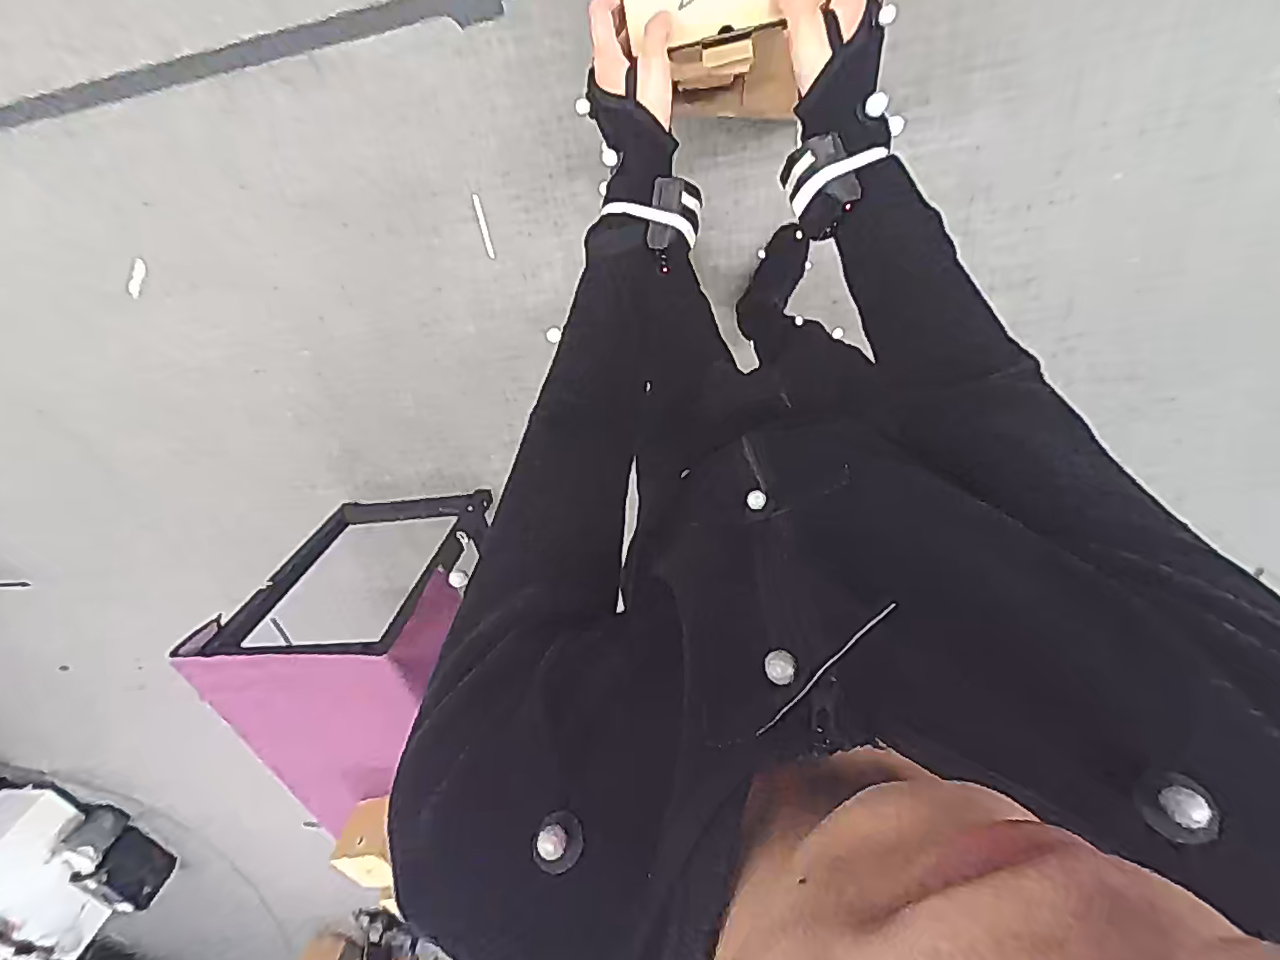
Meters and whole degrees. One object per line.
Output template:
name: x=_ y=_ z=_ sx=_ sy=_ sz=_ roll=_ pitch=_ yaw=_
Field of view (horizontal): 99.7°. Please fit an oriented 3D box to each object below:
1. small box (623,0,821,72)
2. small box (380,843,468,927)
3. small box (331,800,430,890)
small box: x=0.063 y=-0.495 z=0.486 sx=0.168 sy=0.176 sz=0.179 roll=-6 pitch=124 yaw=9
small box: x=-0.664 y=1.270 z=1.700 sx=0.179 sy=0.176 sz=0.168 roll=-15 pitch=119 yaw=17
small box: x=-0.744 y=1.063 z=1.581 sx=0.179 sy=0.176 sz=0.168 roll=-17 pitch=118 yaw=17
